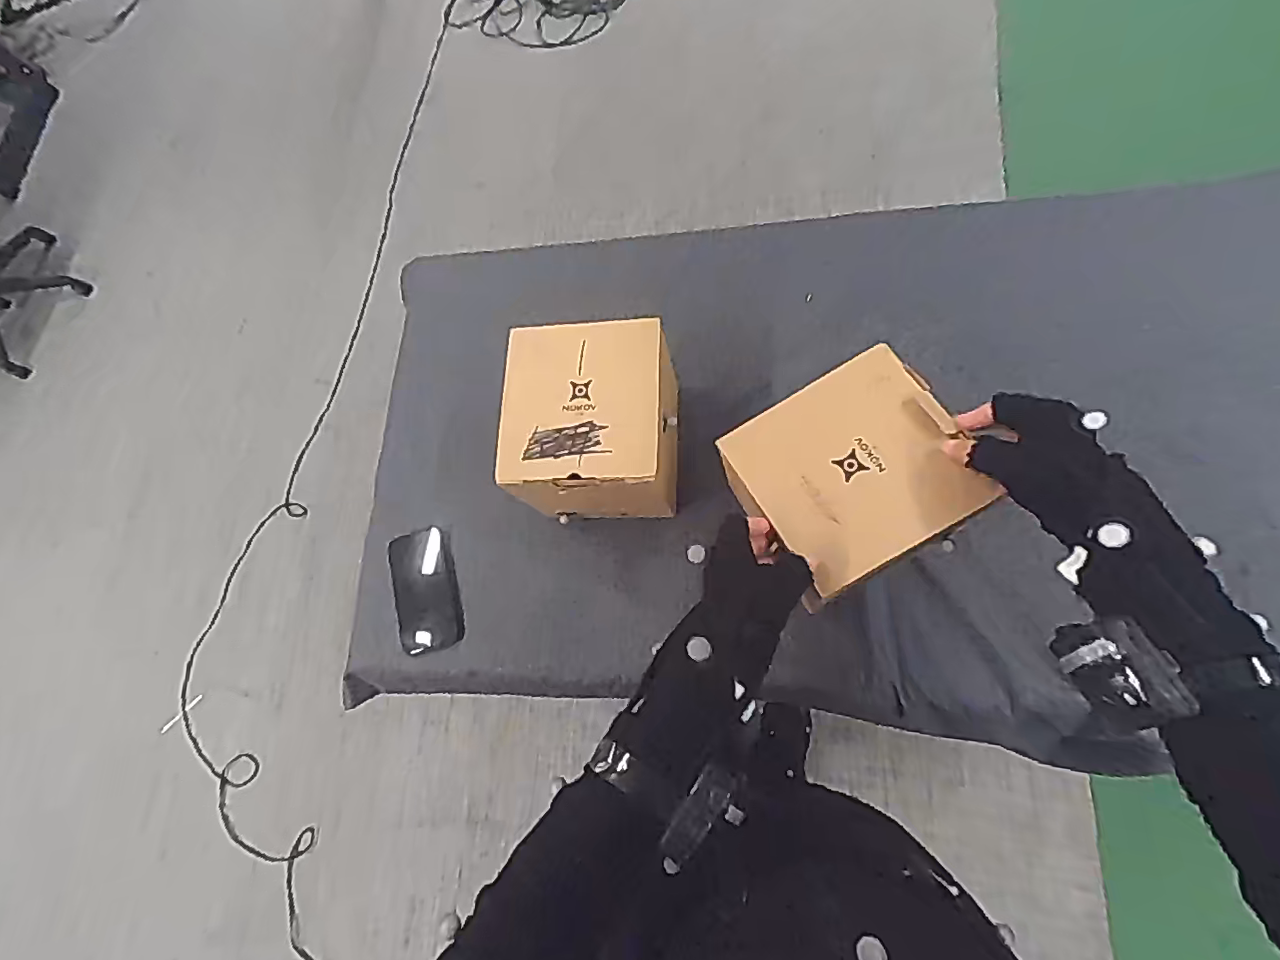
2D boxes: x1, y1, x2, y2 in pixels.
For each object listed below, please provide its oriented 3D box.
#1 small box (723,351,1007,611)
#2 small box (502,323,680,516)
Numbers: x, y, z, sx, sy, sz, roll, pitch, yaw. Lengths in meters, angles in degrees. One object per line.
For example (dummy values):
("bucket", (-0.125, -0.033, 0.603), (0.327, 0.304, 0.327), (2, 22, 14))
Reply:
("small box", (0.203, 0.013, 0.539), (0.179, 0.176, 0.168), (-32, 66, 3))
("small box", (-0.043, -0.058, 0.629), (0.168, 0.176, 0.179), (-1, 73, 9))
